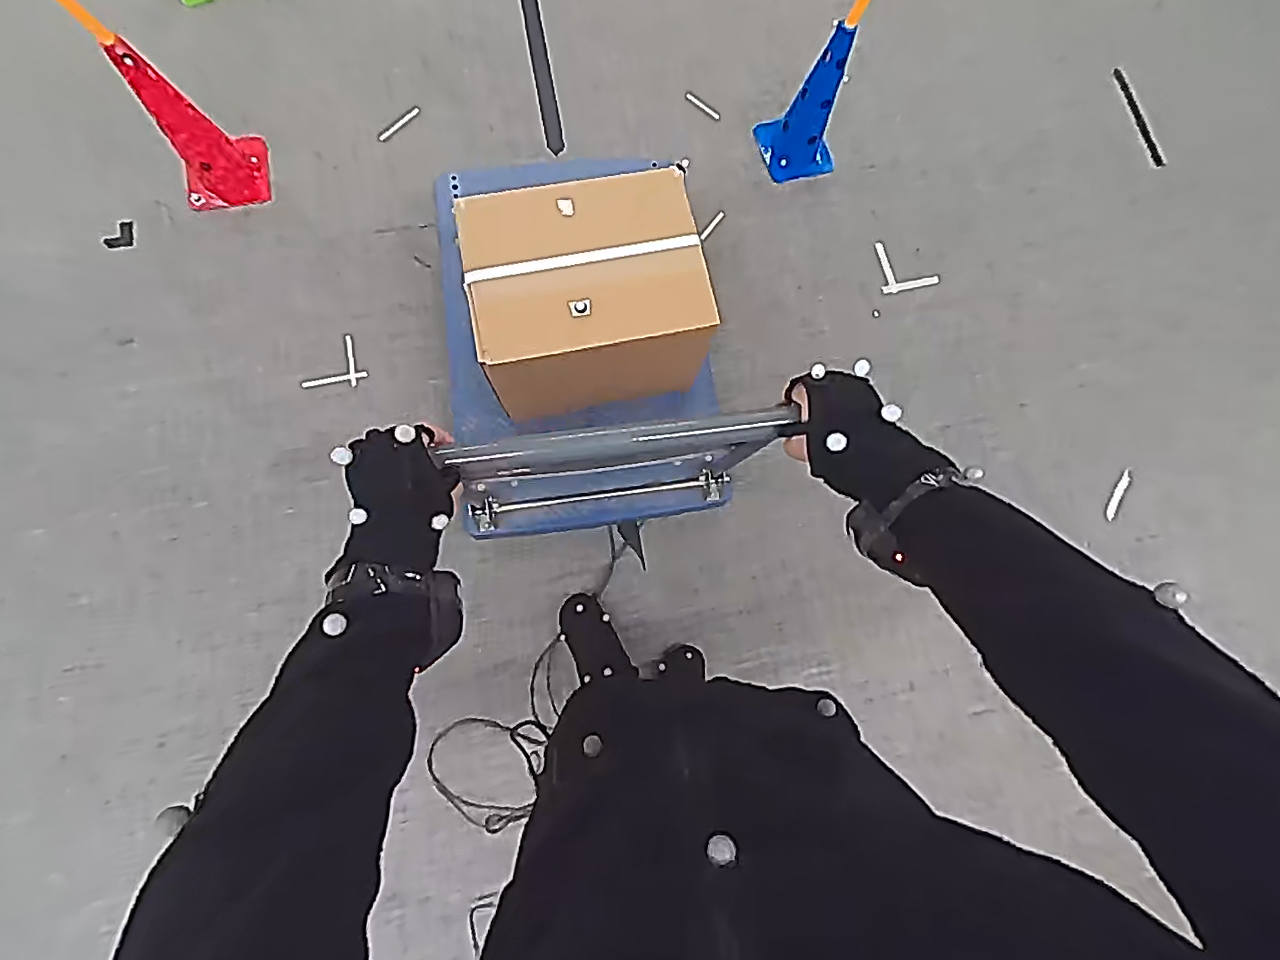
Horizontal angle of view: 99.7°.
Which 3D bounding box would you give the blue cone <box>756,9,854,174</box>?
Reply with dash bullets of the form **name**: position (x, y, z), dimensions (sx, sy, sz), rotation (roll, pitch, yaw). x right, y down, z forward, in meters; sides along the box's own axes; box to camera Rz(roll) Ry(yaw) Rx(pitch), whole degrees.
- **blue cone**: position (0.462, -1.013, 1.412), dimensions (0.193, 0.380, 0.192), rotation (-14, 79, -8)
